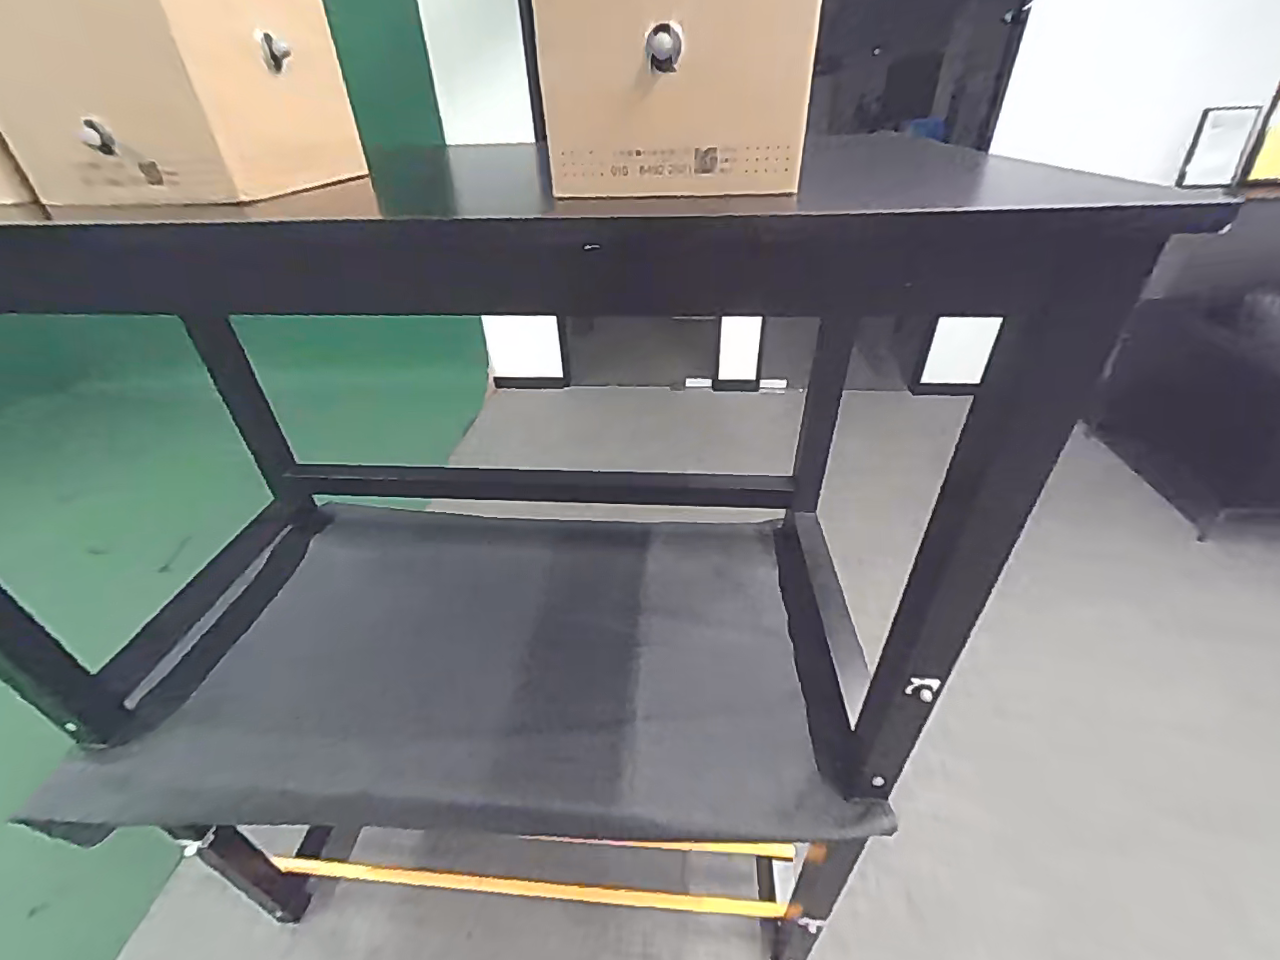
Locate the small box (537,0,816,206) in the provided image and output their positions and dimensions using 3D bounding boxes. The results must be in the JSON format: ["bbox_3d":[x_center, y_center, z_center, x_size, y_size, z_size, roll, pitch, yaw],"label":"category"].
[{"bbox_3d":[0.030,-0.301,0.388,0.168,0.176,0.179,3,36,5],"label":"small box"}]
